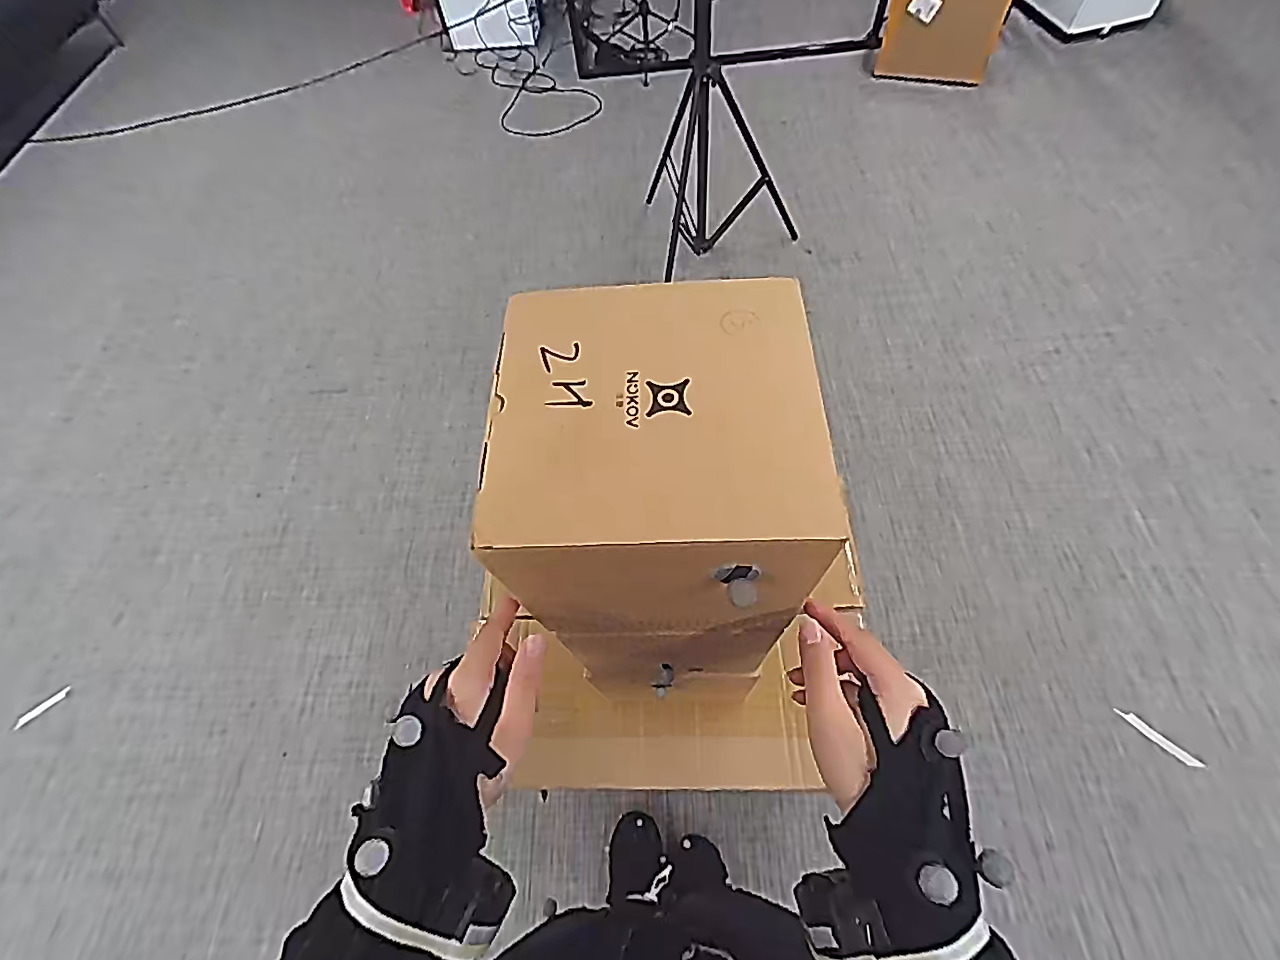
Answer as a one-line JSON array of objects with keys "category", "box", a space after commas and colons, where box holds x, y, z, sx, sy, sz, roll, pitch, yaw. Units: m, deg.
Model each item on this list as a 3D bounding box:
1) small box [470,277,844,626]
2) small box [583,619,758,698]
[{"category": "small box", "box": [0.013, -0.006, 0.355, 0.179, 0.176, 0.168, -2, 61, 4]}, {"category": "small box", "box": [0.037, 0.160, 0.639, 0.179, 0.176, 0.168, -2, 61, 4]}]
